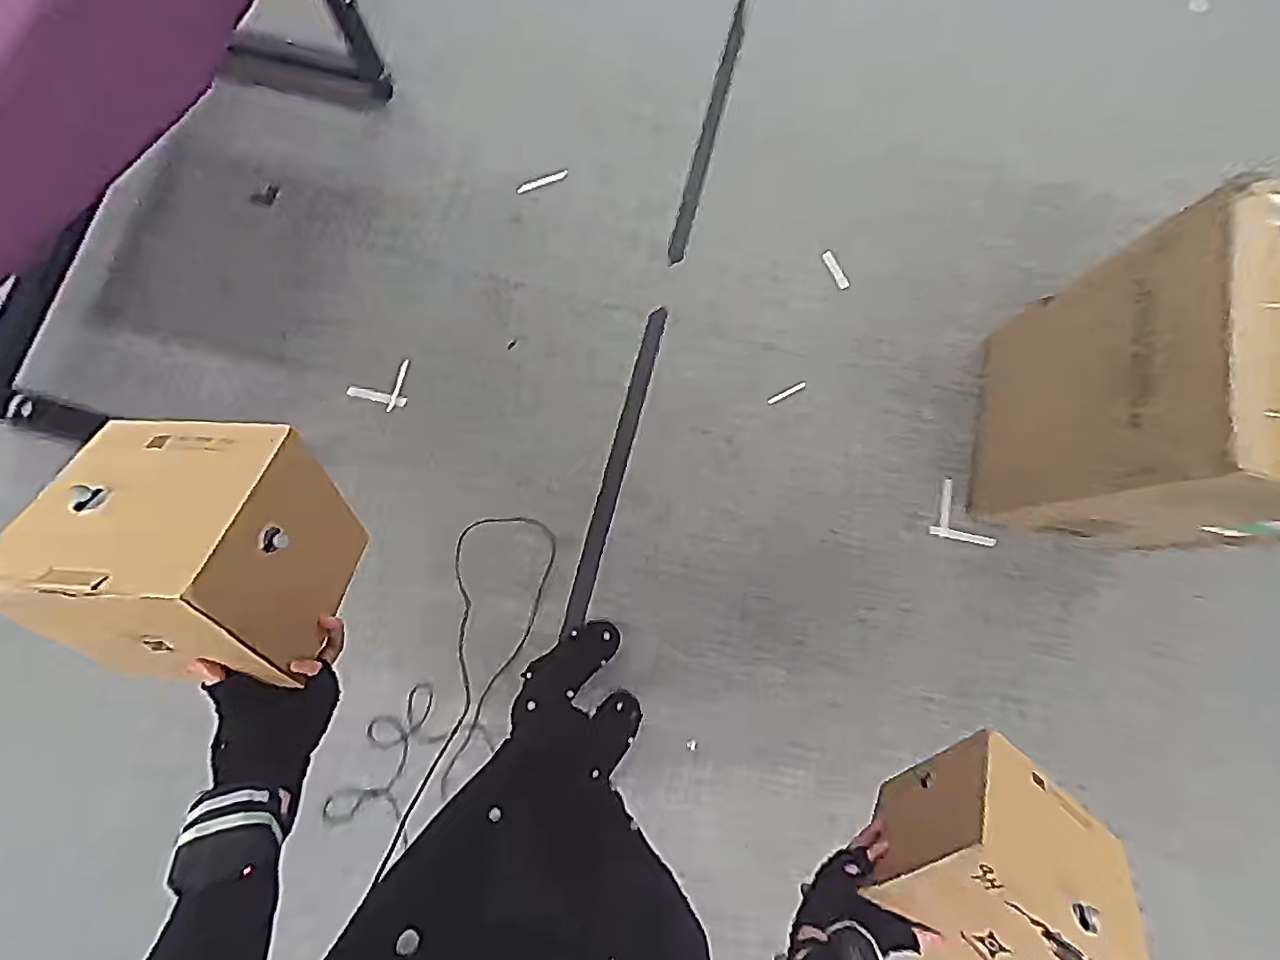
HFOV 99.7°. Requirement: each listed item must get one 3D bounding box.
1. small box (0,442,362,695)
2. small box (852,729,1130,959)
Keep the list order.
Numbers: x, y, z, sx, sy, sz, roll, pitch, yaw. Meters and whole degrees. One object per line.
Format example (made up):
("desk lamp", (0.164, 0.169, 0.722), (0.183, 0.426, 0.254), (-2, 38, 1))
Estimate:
("small box", (-0.388, 0.080, 0.488), (0.168, 0.179, 0.176), (1, 50, 2))
("small box", (0.362, 0.406, 0.567), (0.168, 0.176, 0.179), (44, 125, 15))
